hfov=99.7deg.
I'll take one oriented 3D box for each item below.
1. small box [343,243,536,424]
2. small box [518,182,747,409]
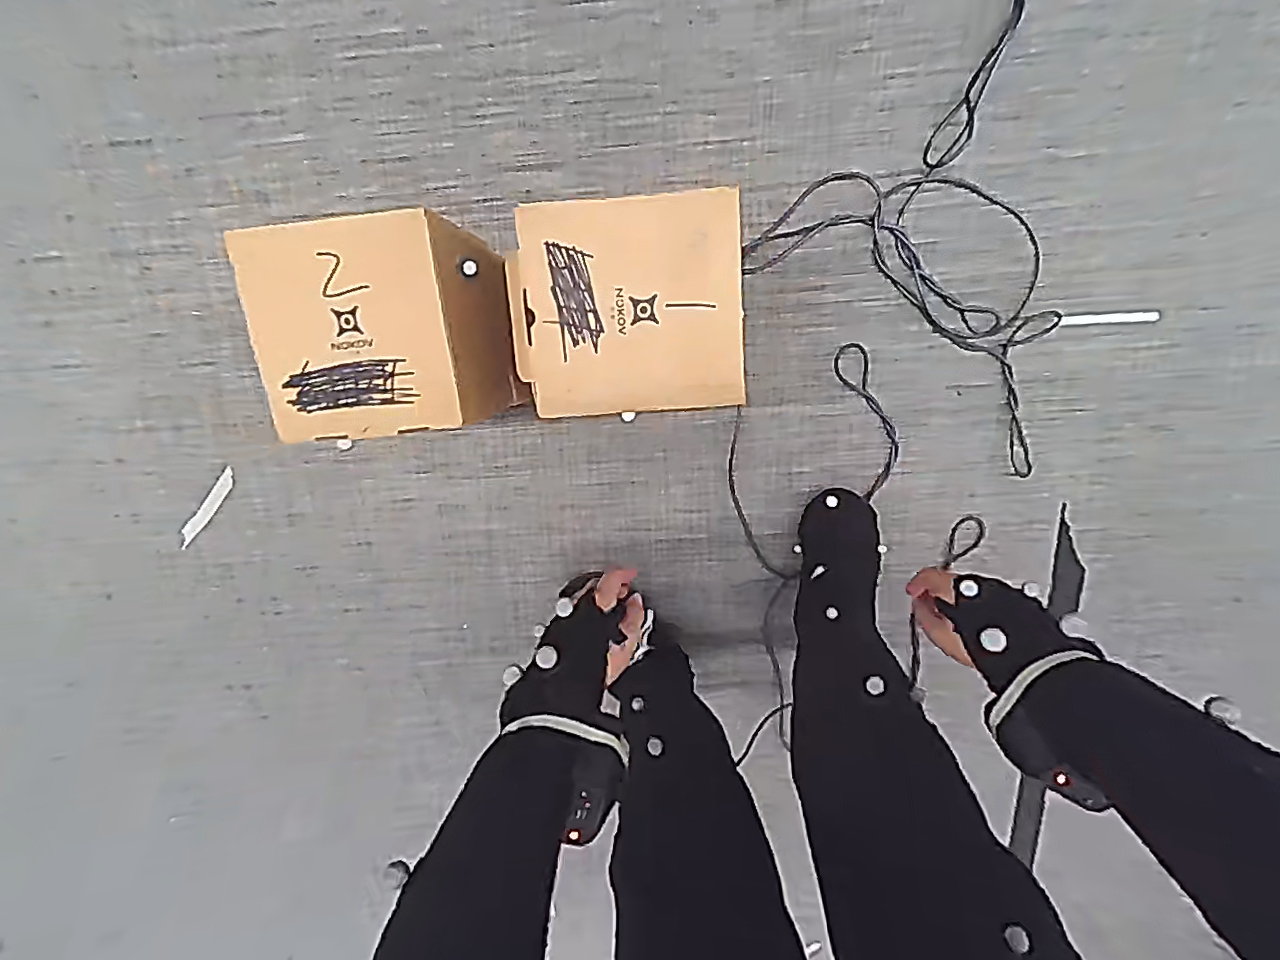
[{"bbox_3d":[-0.228,-0.178,0.679,0.168,0.176,0.179,-10,104,4],"label":"small box"},{"bbox_3d":[0.000,-0.159,0.503,0.179,0.176,0.168,-3,104,2],"label":"small box"}]
